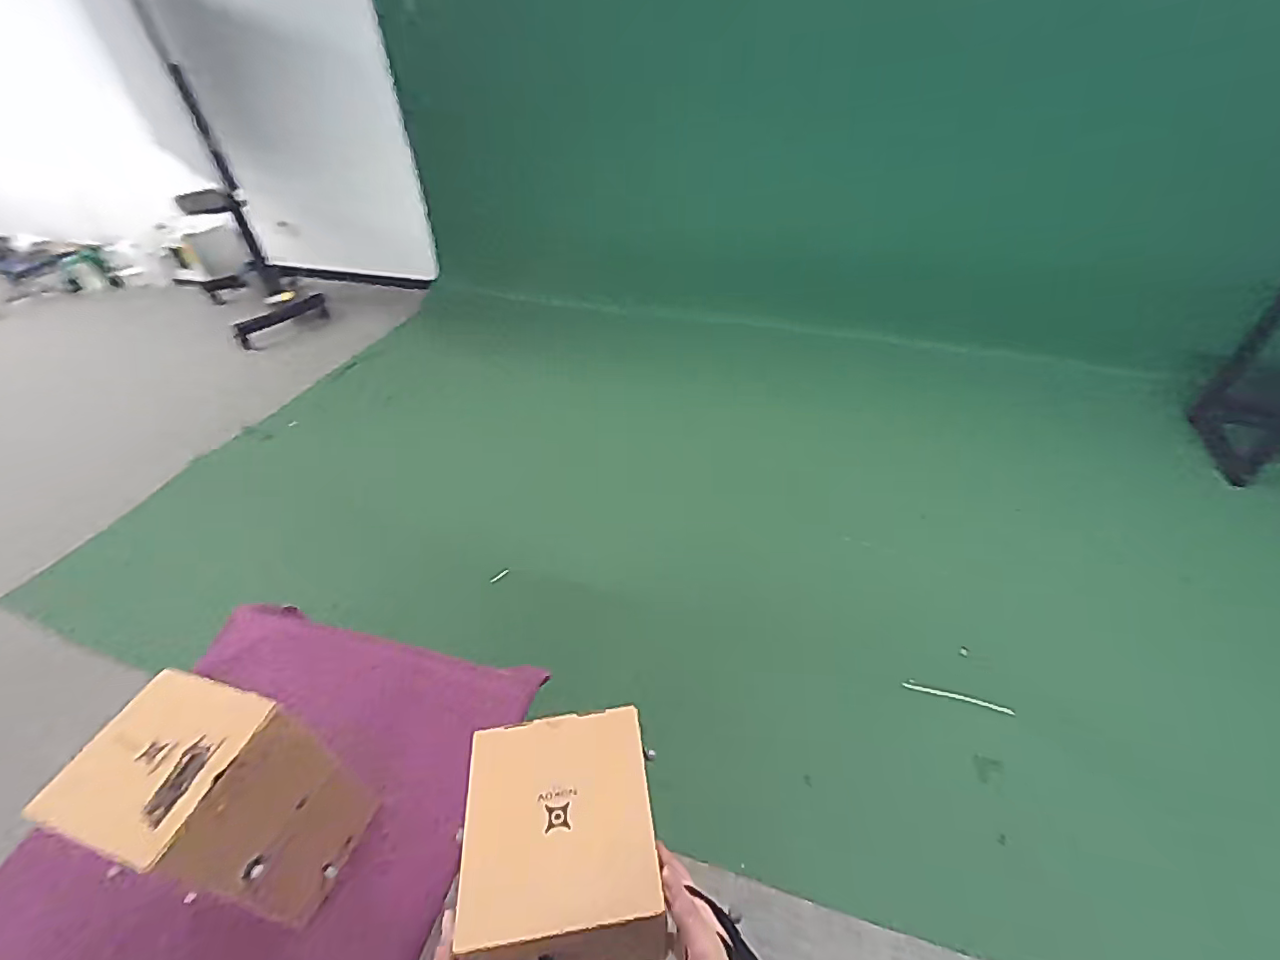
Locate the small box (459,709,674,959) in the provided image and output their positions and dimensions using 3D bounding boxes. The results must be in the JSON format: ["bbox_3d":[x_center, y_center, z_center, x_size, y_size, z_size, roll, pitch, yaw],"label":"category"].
[{"bbox_3d":[-0.061,0.356,0.523,0.168,0.176,0.179,-7,38,-4],"label":"small box"}]

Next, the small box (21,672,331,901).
[{"bbox_3d":[-0.508,0.355,0.626,0.179,0.176,0.168,9,44,15],"label":"small box"}]

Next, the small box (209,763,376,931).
[{"bbox_3d":[-0.505,0.477,0.736,0.179,0.176,0.168,10,44,14],"label":"small box"}]
